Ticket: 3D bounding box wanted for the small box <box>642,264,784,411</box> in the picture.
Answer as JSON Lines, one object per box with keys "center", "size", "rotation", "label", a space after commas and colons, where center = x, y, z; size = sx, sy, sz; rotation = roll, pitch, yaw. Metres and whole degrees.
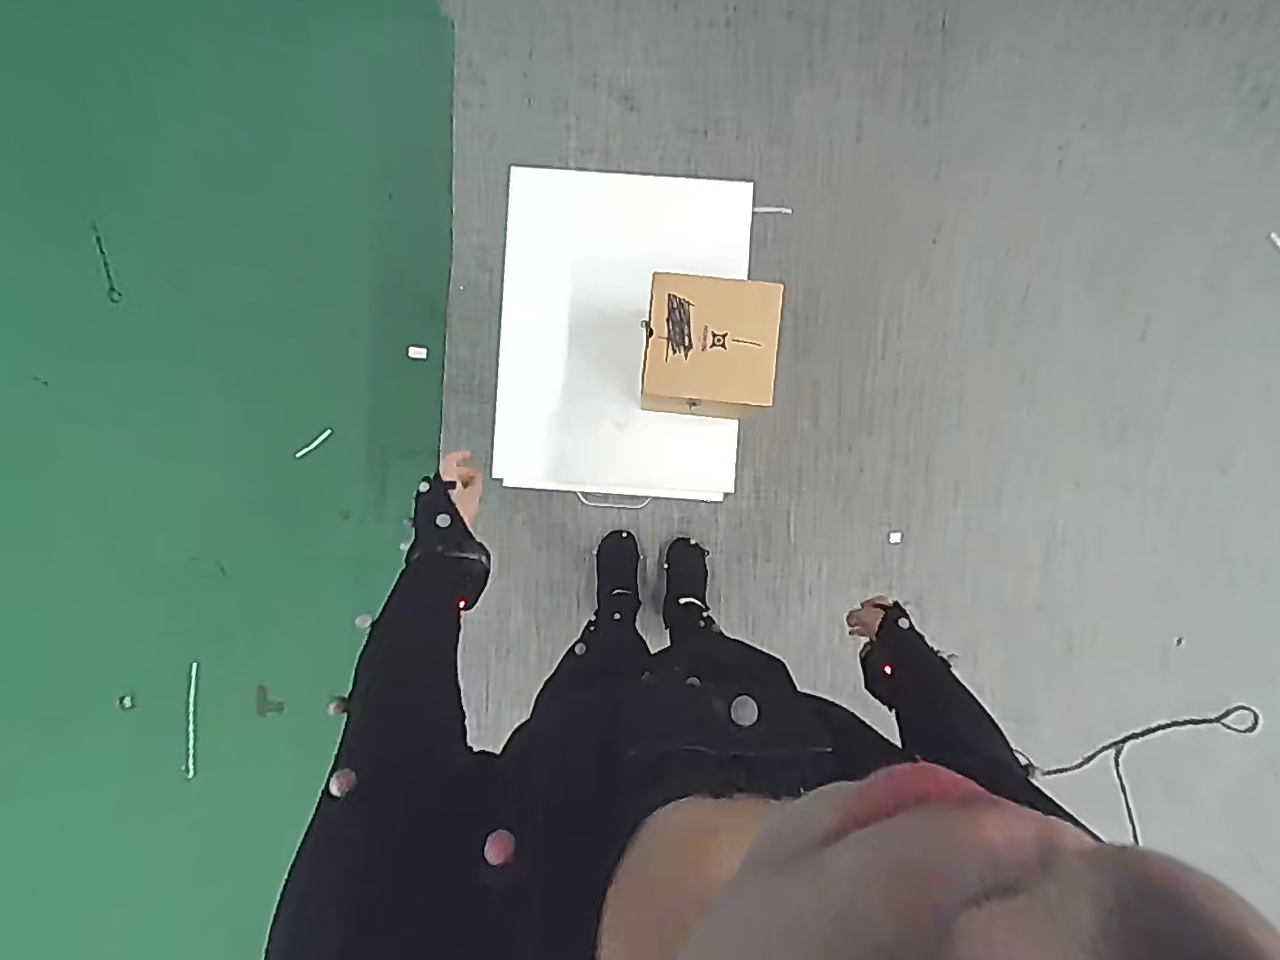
{"center": [0.097, -0.198, 0.798], "size": [0.179, 0.176, 0.168], "rotation": [6, 91, -1], "label": "small box"}
